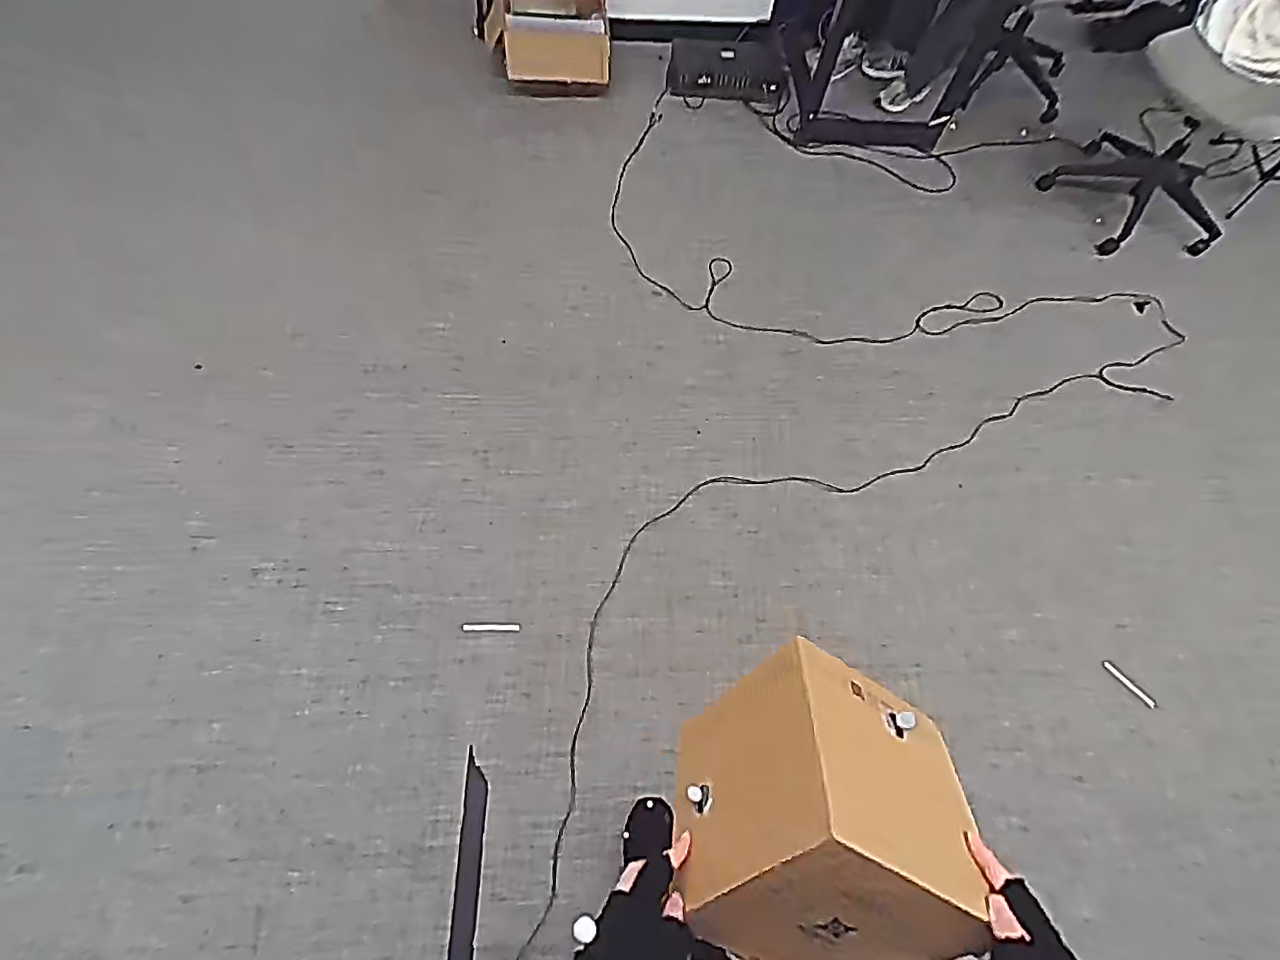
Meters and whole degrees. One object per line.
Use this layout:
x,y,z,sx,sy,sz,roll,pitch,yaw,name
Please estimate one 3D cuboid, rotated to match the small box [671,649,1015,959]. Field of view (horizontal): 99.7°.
0.146,0.280,0.450,0.168,0.179,0.176,33,28,-11,small box
